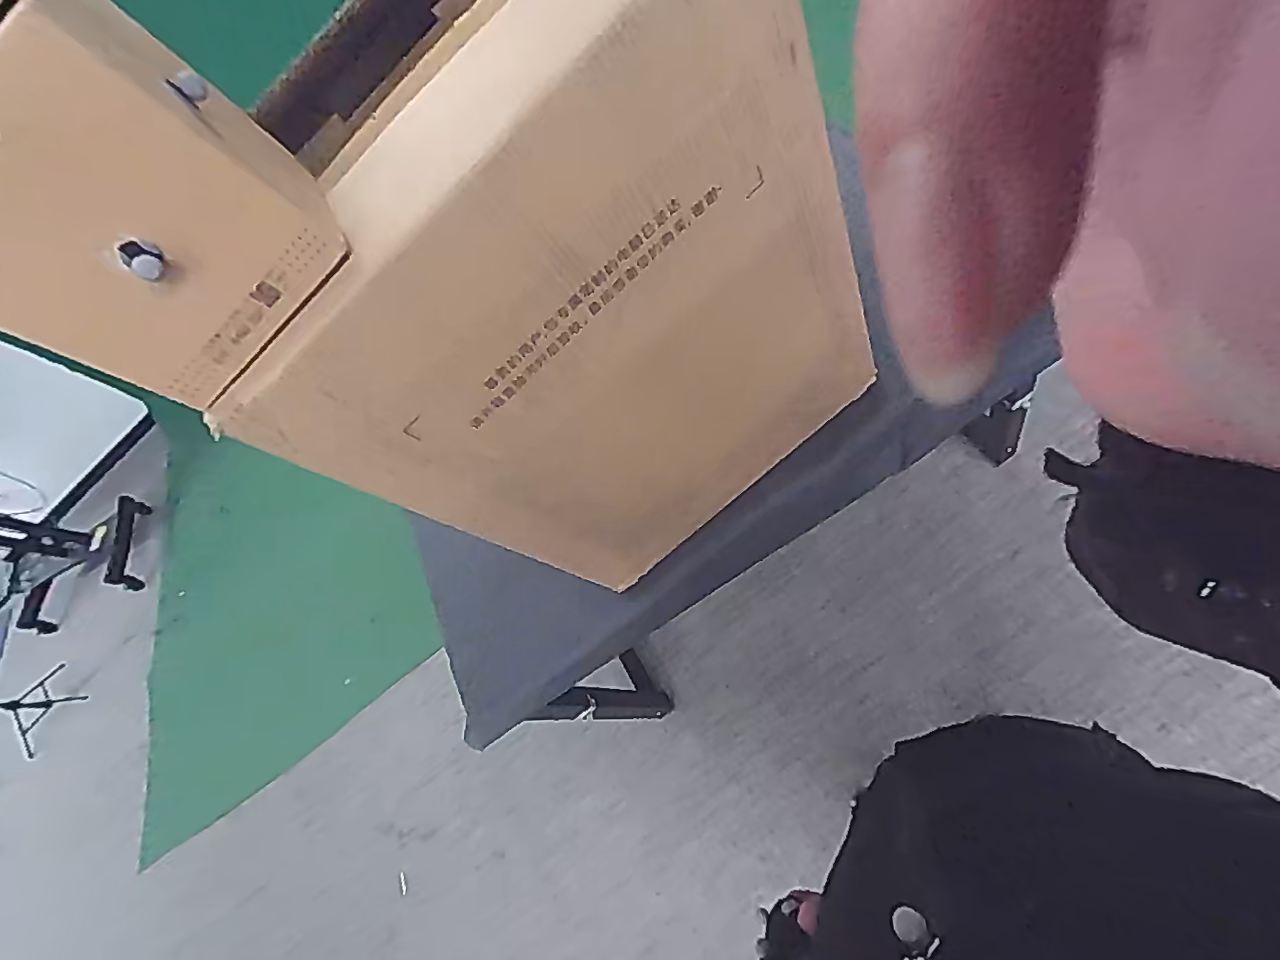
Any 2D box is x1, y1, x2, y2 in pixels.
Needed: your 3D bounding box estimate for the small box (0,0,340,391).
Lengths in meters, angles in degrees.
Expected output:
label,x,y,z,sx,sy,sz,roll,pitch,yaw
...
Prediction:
label,x,y,z,sx,sy,sz,roll,pitch,yaw
small box,-0.339,-0.185,0.370,0.168,0.176,0.179,-43,56,7
